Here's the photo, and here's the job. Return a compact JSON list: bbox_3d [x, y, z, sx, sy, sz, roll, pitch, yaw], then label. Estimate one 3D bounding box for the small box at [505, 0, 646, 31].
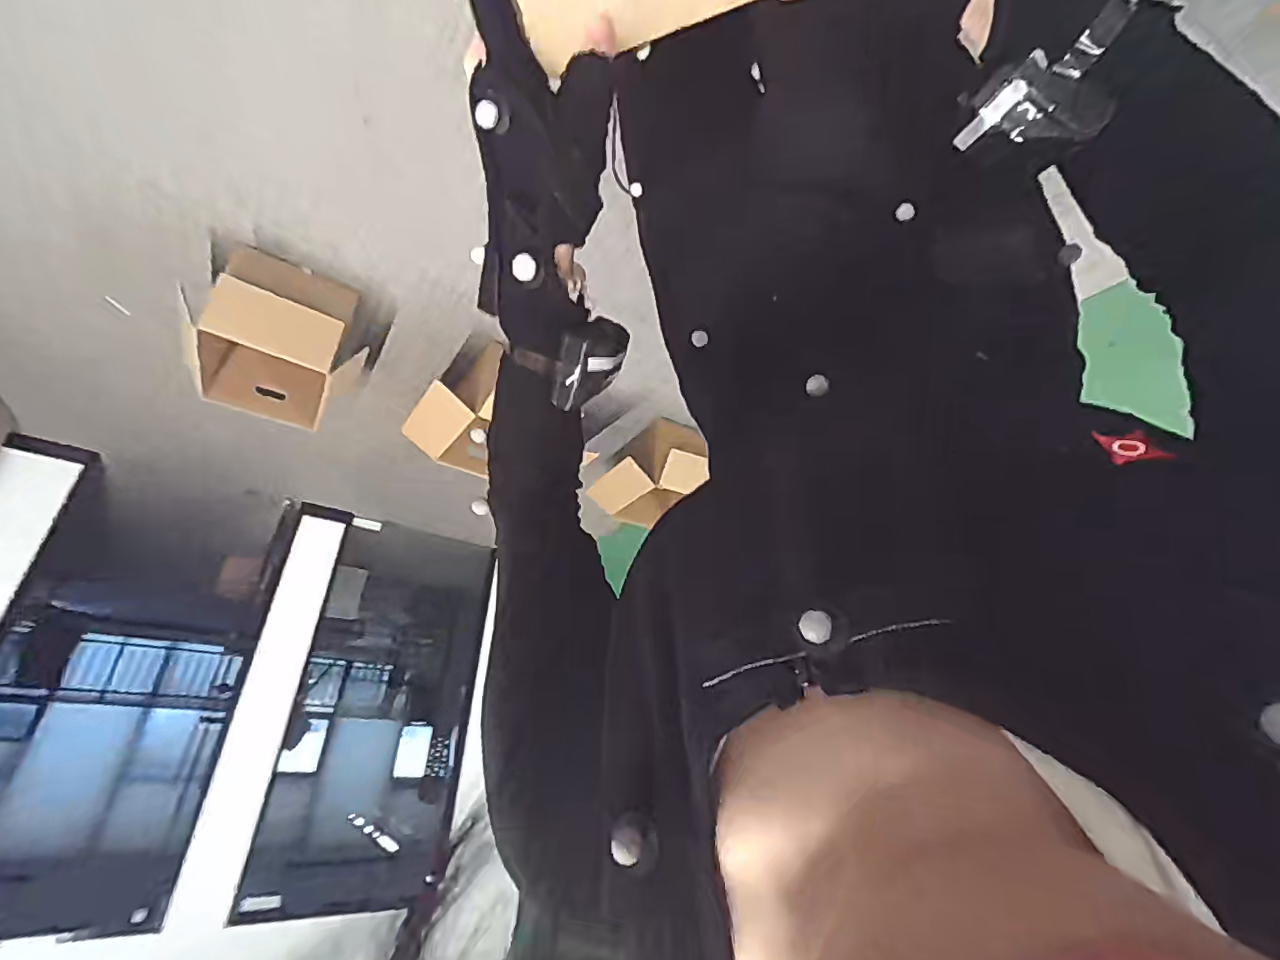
[{"bbox_3d":[-0.016,-0.380,0.300,0.179,0.176,0.168,-21,136,-2],"label":"small box"}]
